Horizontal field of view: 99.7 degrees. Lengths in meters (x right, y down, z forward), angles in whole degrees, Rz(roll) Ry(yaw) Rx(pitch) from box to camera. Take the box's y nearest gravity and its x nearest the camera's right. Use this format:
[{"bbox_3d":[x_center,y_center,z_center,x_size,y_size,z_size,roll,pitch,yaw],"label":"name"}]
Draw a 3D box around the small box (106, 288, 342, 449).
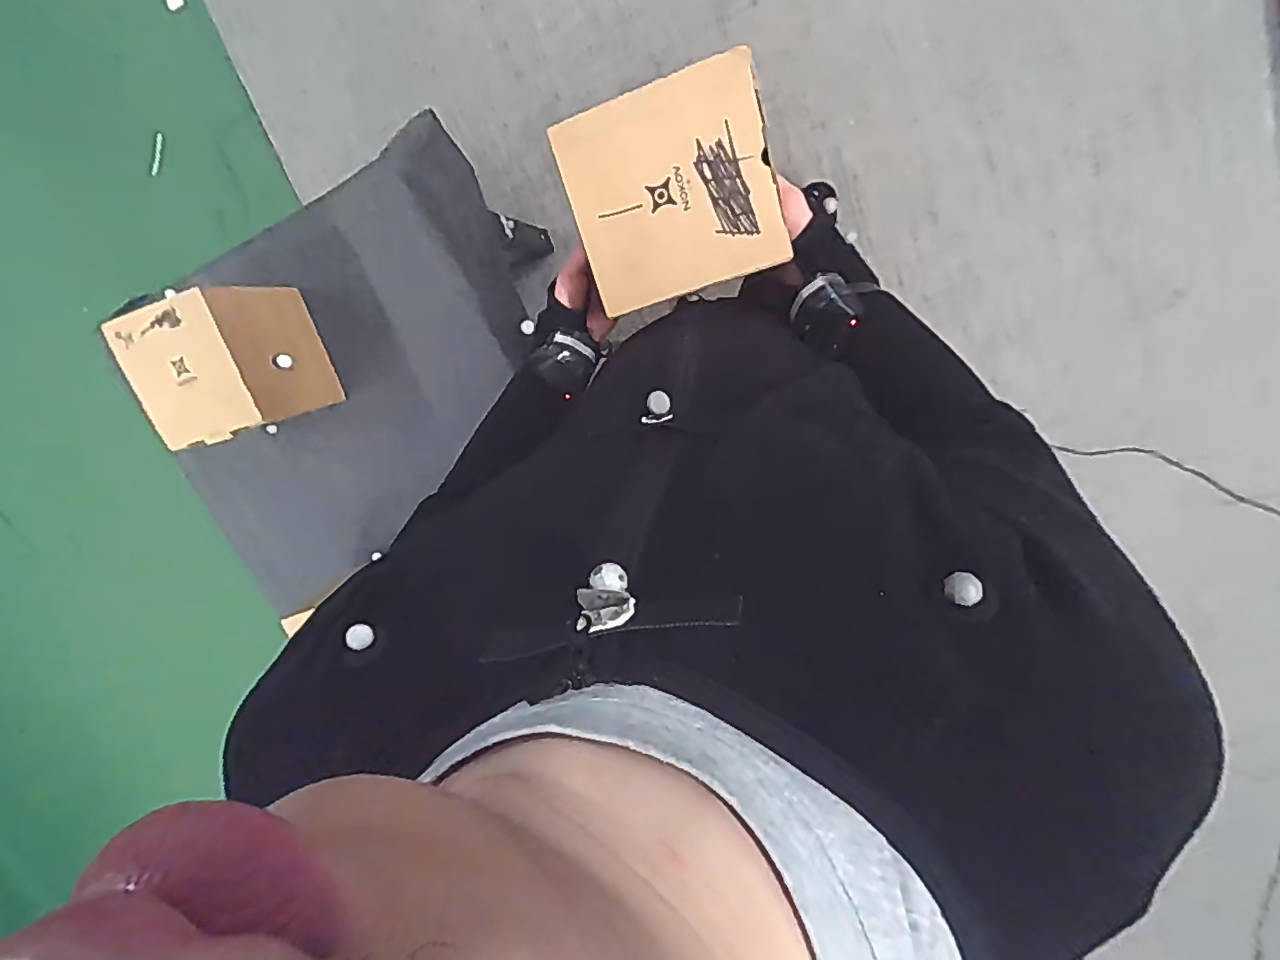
[{"bbox_3d":[-0.569,-0.164,0.769,0.168,0.176,0.179,-13,107,12],"label":"small box"}]
